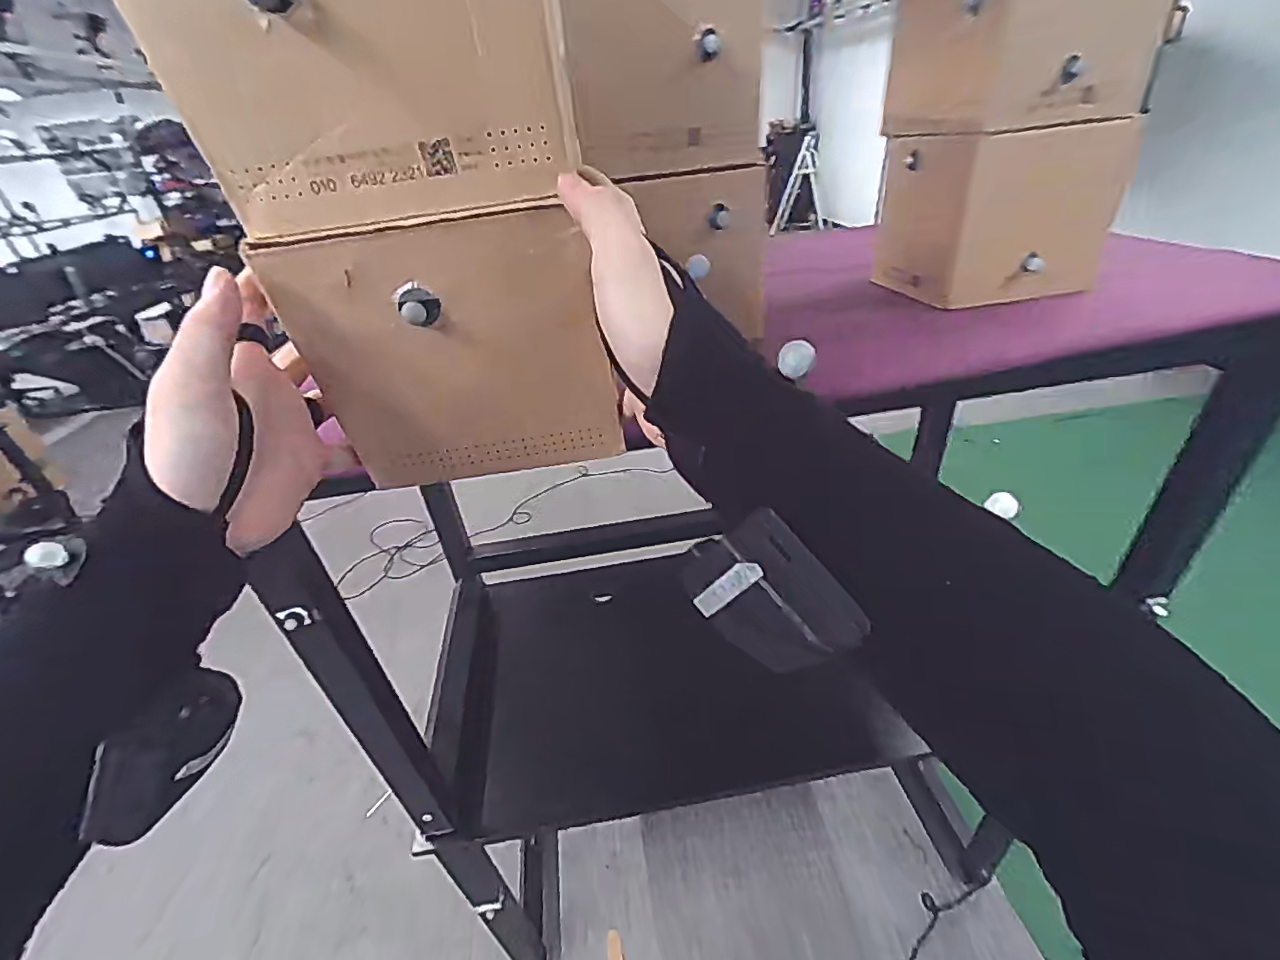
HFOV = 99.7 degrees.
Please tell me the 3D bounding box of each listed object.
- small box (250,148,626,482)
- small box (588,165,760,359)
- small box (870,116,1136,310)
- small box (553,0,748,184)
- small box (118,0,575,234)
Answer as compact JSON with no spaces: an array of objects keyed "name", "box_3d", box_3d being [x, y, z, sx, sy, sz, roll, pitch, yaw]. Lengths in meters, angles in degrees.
[{"name":"small box","box_3d":[-0.111,-0.114,0.384,0.179,0.176,0.168,-8,42,0]},{"name":"small box","box_3d":[0.023,-0.248,0.603,0.179,0.176,0.168,-9,33,-3]},{"name":"small box","box_3d":[0.391,-0.307,0.623,0.179,0.176,0.168,-9,31,-4]},{"name":"small box","box_3d":[0.004,-0.386,0.517,0.168,0.176,0.179,-8,32,-3]},{"name":"small box","box_3d":[-0.130,-0.240,0.282,0.168,0.176,0.179,-9,41,1]}]
